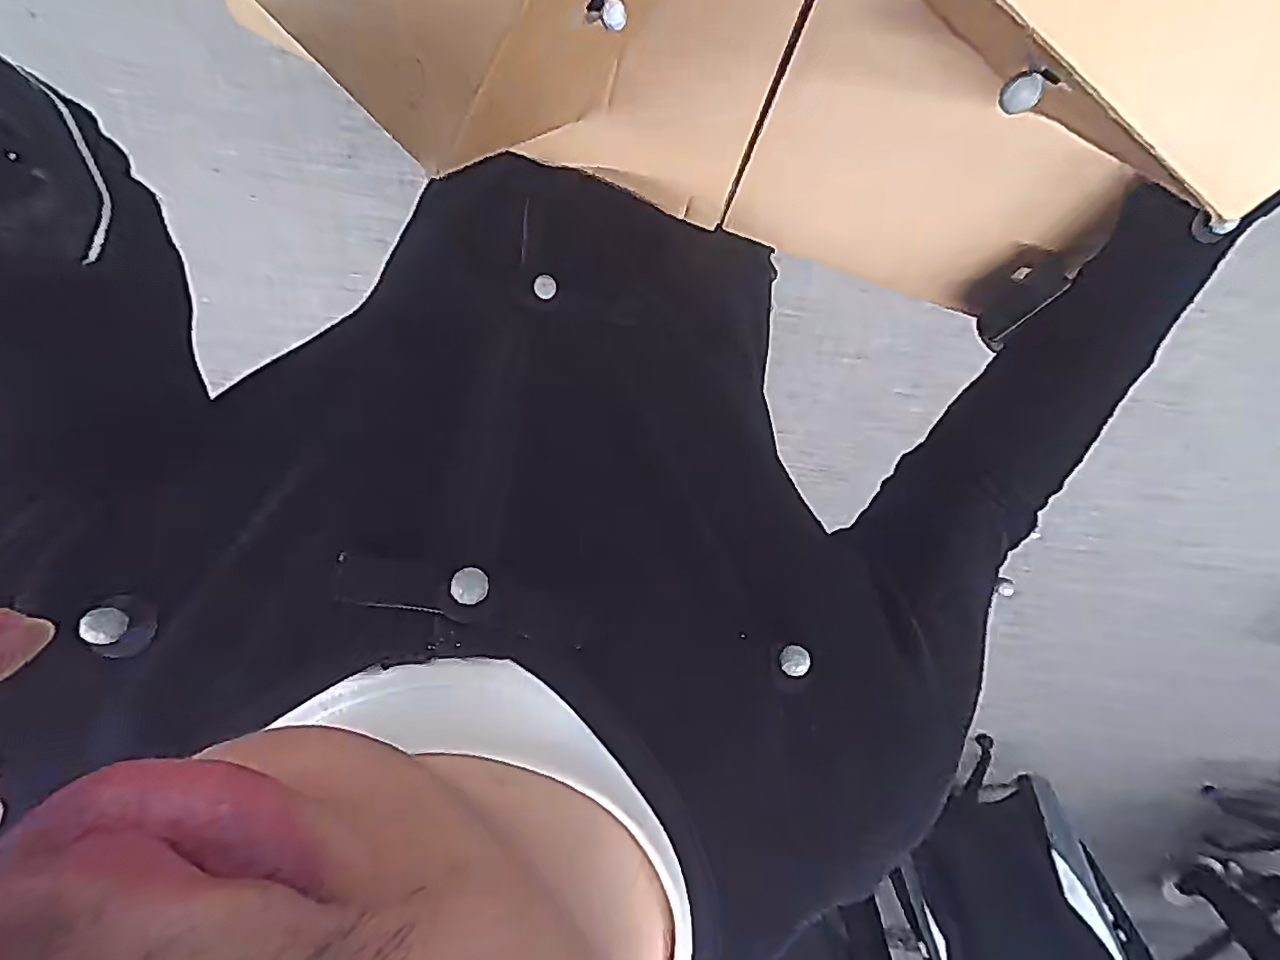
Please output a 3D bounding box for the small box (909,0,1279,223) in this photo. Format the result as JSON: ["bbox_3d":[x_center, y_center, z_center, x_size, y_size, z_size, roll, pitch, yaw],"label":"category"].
[{"bbox_3d":[0.223,-0.252,0.219,0.179,0.176,0.168,25,134,-17],"label":"small box"}]
